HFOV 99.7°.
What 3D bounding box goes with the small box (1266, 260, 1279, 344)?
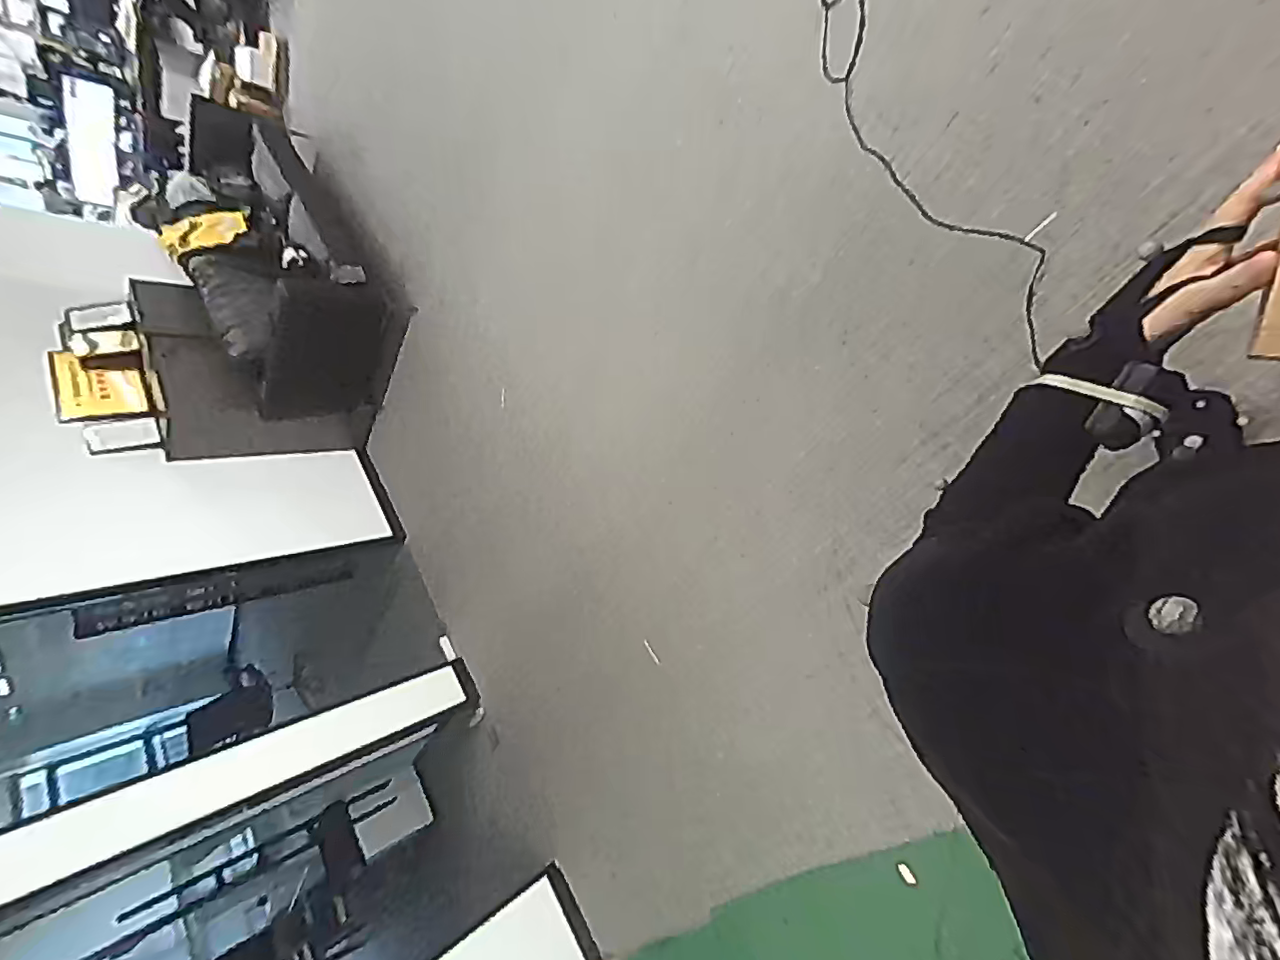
[{"bbox_3d":[0.482,-0.160,0.292,0.168,0.176,0.179,15,109,46],"label":"small box"}]
